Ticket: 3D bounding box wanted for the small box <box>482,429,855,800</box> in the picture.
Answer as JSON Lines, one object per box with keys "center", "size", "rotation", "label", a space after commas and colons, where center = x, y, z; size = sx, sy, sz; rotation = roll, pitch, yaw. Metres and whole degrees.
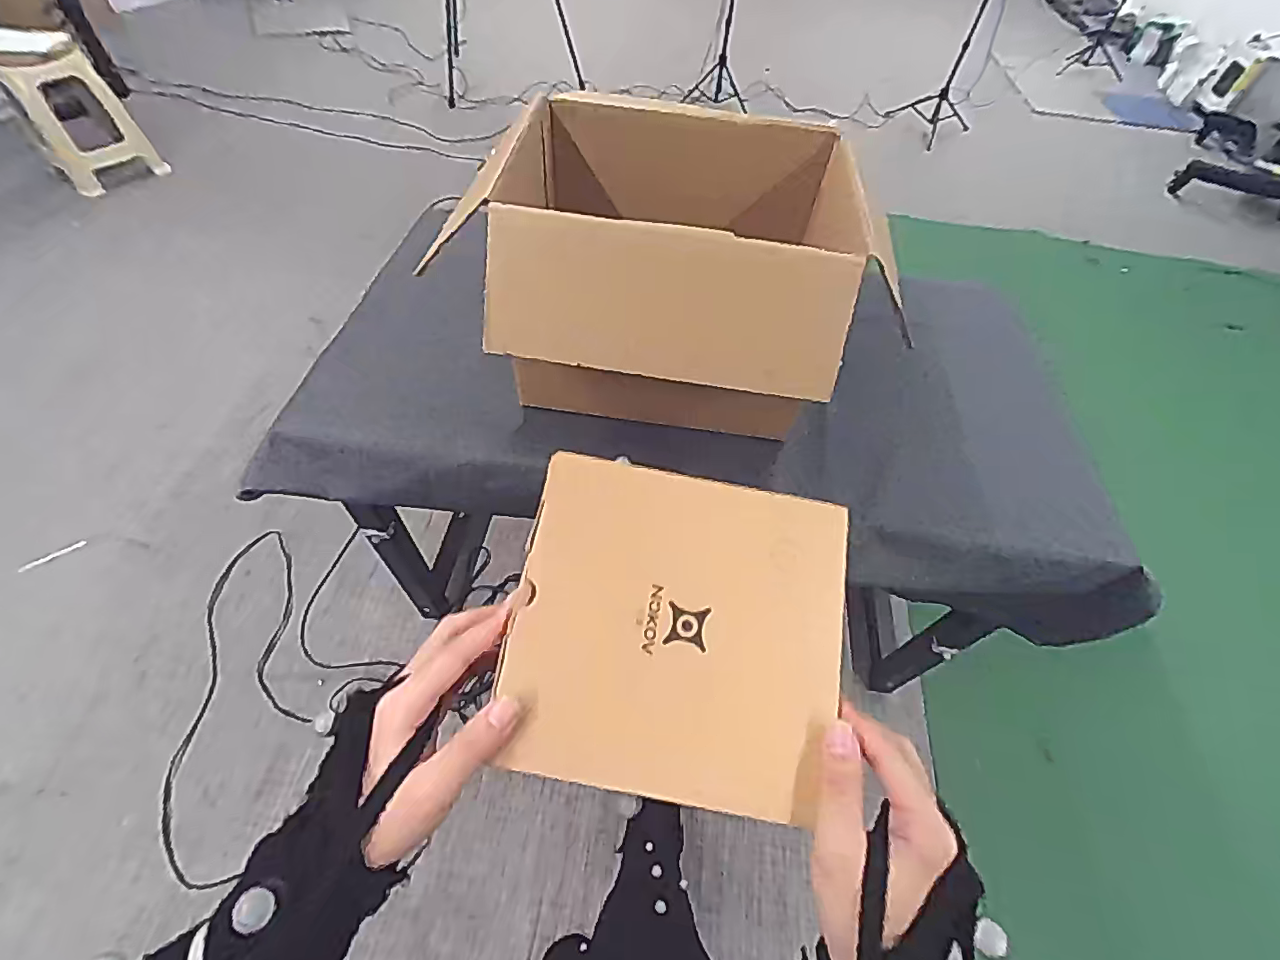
{"center": [0.018, 0.087, 0.359], "size": [0.179, 0.176, 0.168], "rotation": [11, 71, 0], "label": "small box"}
